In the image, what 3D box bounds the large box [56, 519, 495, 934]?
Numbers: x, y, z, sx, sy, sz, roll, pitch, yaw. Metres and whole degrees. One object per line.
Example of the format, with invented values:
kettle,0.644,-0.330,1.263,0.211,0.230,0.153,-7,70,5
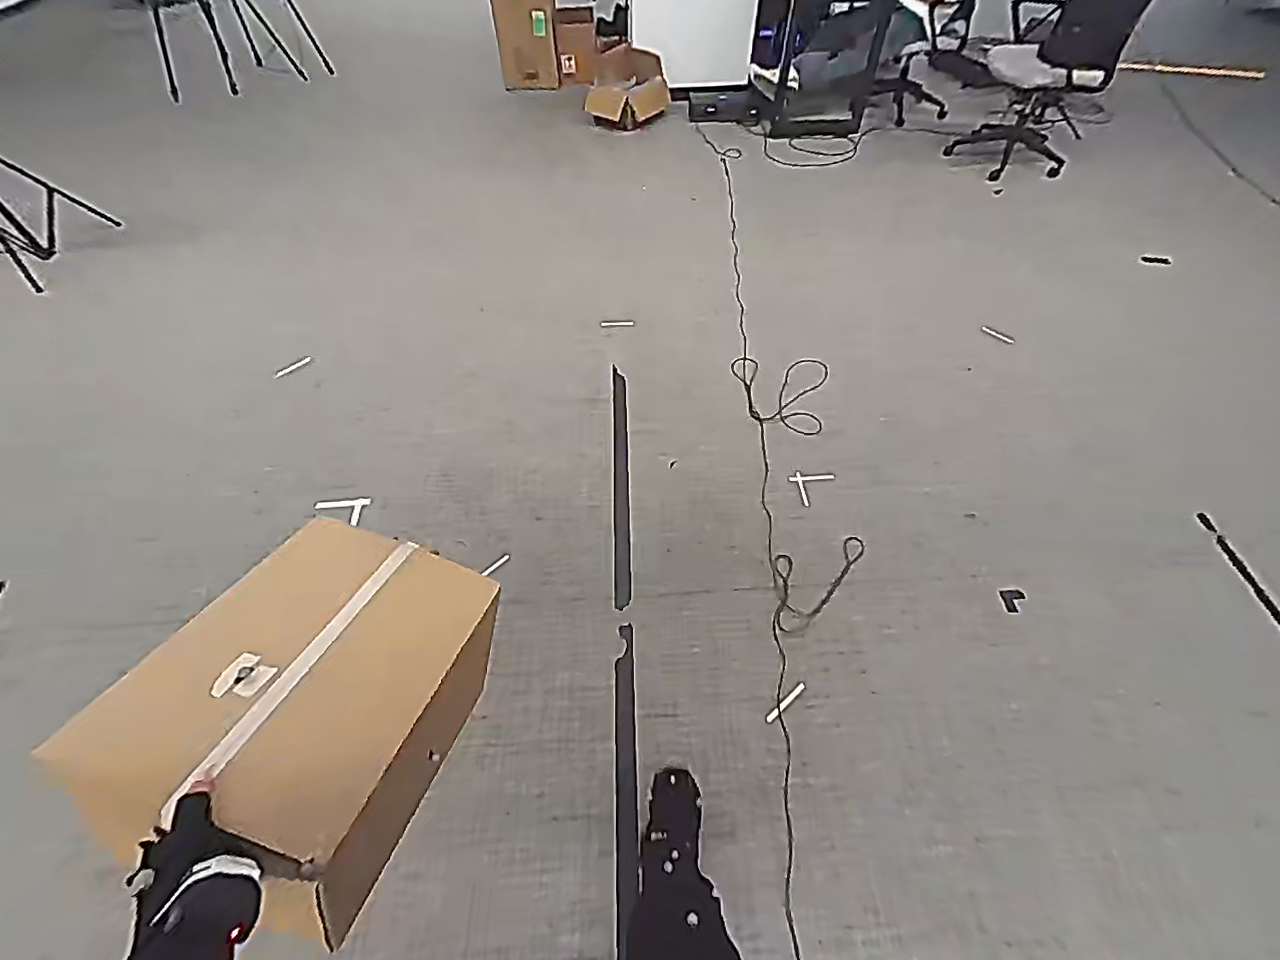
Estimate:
large box,-0.454,0.335,0.793,0.320,0.320,0.408,21,37,2
